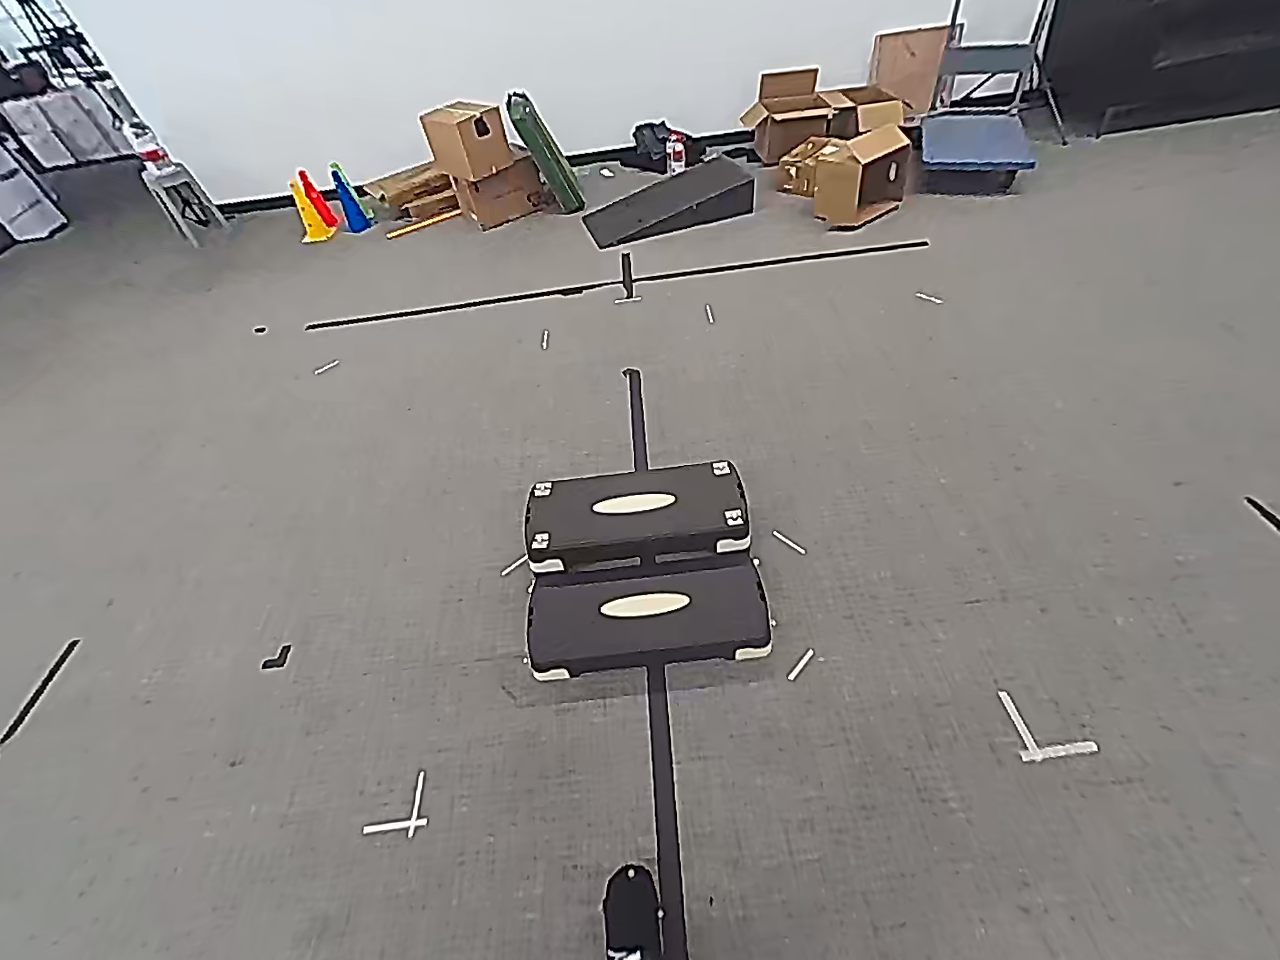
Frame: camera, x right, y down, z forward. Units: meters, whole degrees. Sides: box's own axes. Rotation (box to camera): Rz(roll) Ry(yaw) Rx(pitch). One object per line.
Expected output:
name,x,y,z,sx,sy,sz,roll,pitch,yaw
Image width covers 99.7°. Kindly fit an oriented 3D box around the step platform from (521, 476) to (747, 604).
step platform,-0.019,0.179,1.675,0.684,0.204,0.286,-7,48,1
